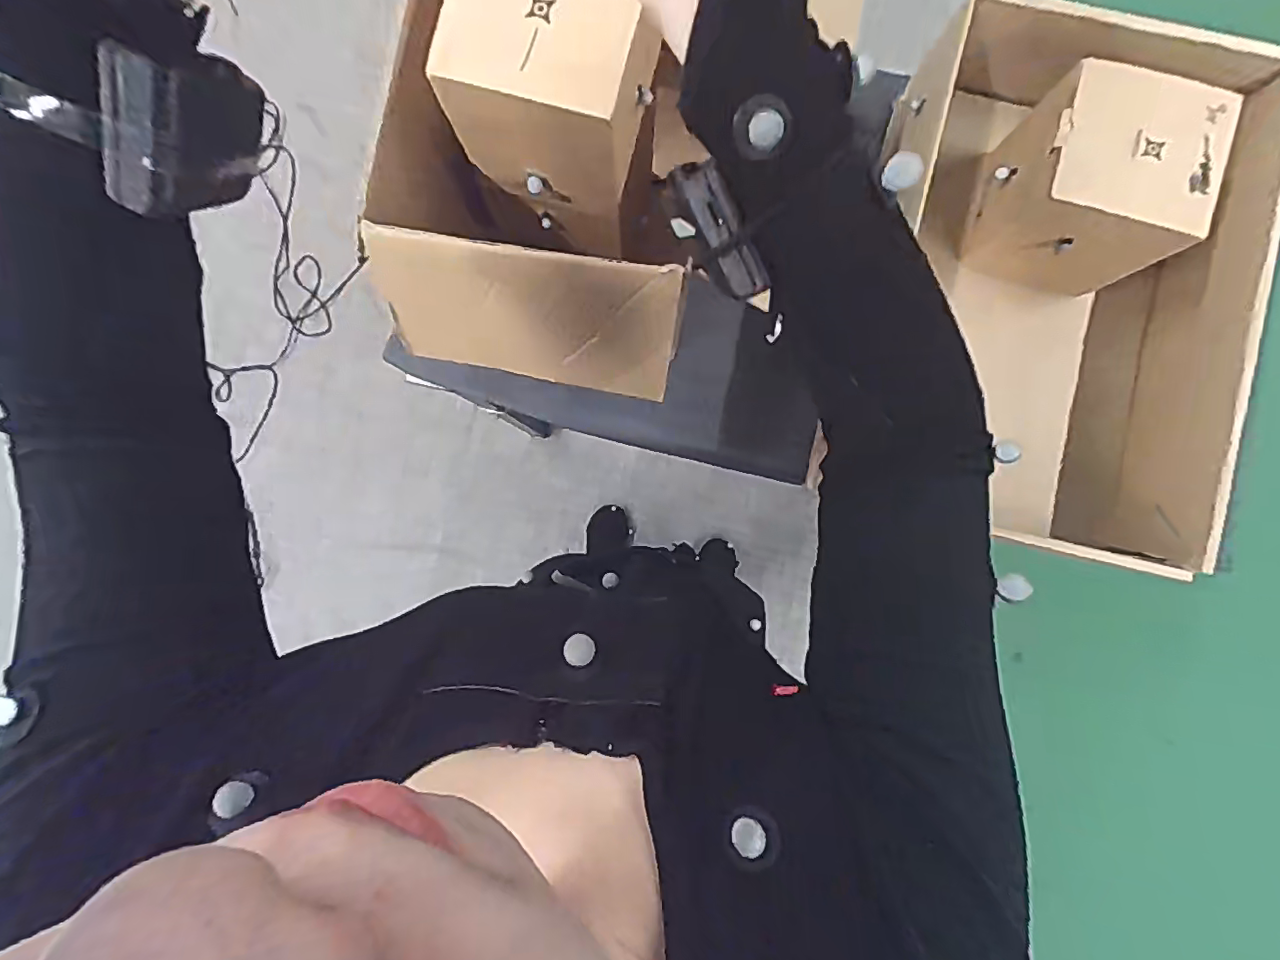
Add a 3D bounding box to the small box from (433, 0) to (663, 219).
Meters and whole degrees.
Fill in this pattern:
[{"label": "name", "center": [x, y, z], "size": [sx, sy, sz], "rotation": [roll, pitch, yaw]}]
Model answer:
[{"label": "small box", "center": [-0.078, -0.402, 0.542], "size": [0.168, 0.176, 0.179], "rotation": [15, 90, 0]}]
